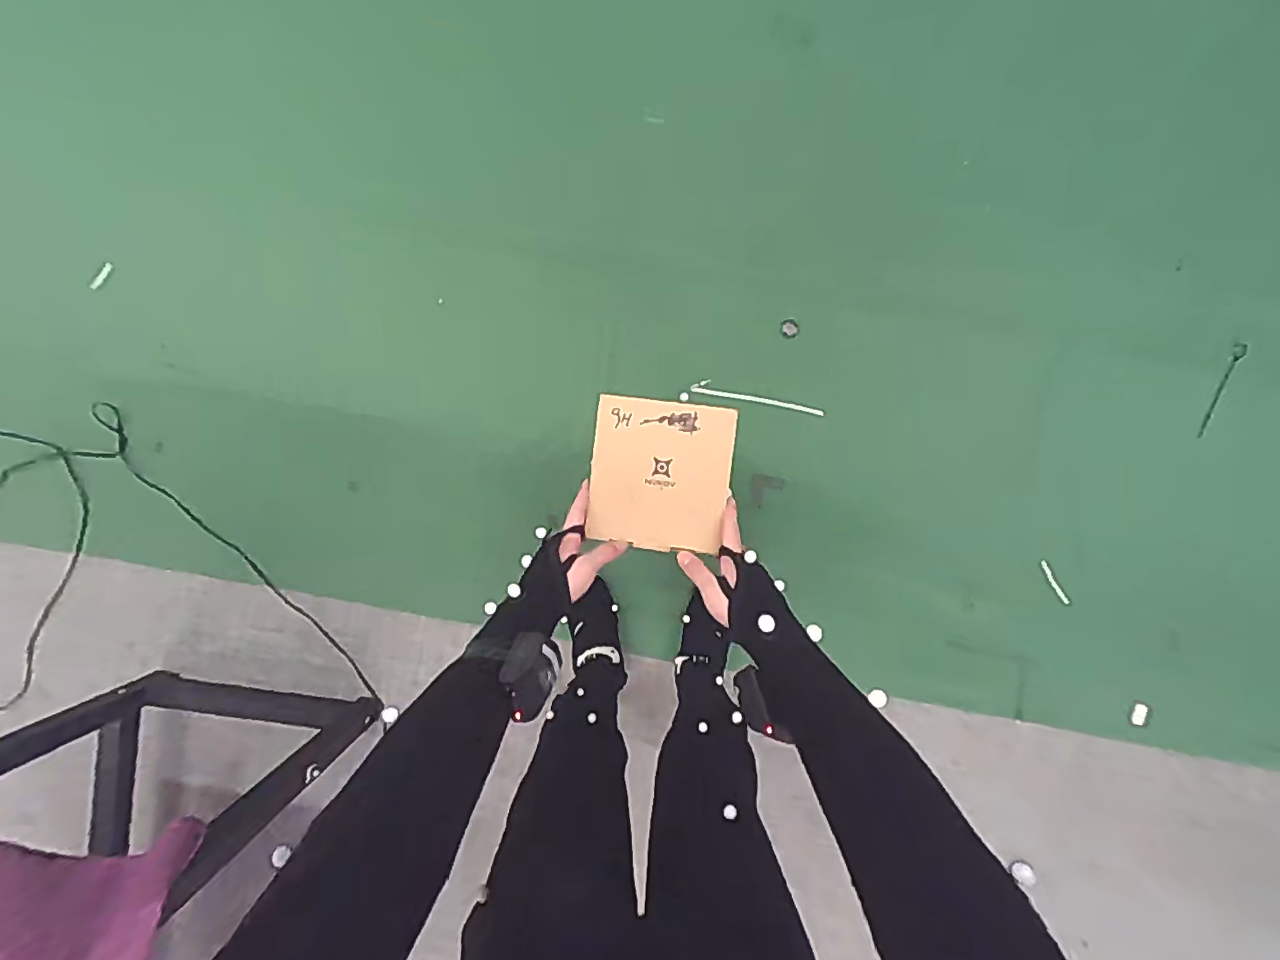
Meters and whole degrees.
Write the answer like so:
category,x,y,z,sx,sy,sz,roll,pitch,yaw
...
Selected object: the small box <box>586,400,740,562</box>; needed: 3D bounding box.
category,x,y,z,sx,sy,sz,roll,pitch,yaw
small box,0.031,-0.003,0.718,0.168,0.176,0.179,7,93,2
